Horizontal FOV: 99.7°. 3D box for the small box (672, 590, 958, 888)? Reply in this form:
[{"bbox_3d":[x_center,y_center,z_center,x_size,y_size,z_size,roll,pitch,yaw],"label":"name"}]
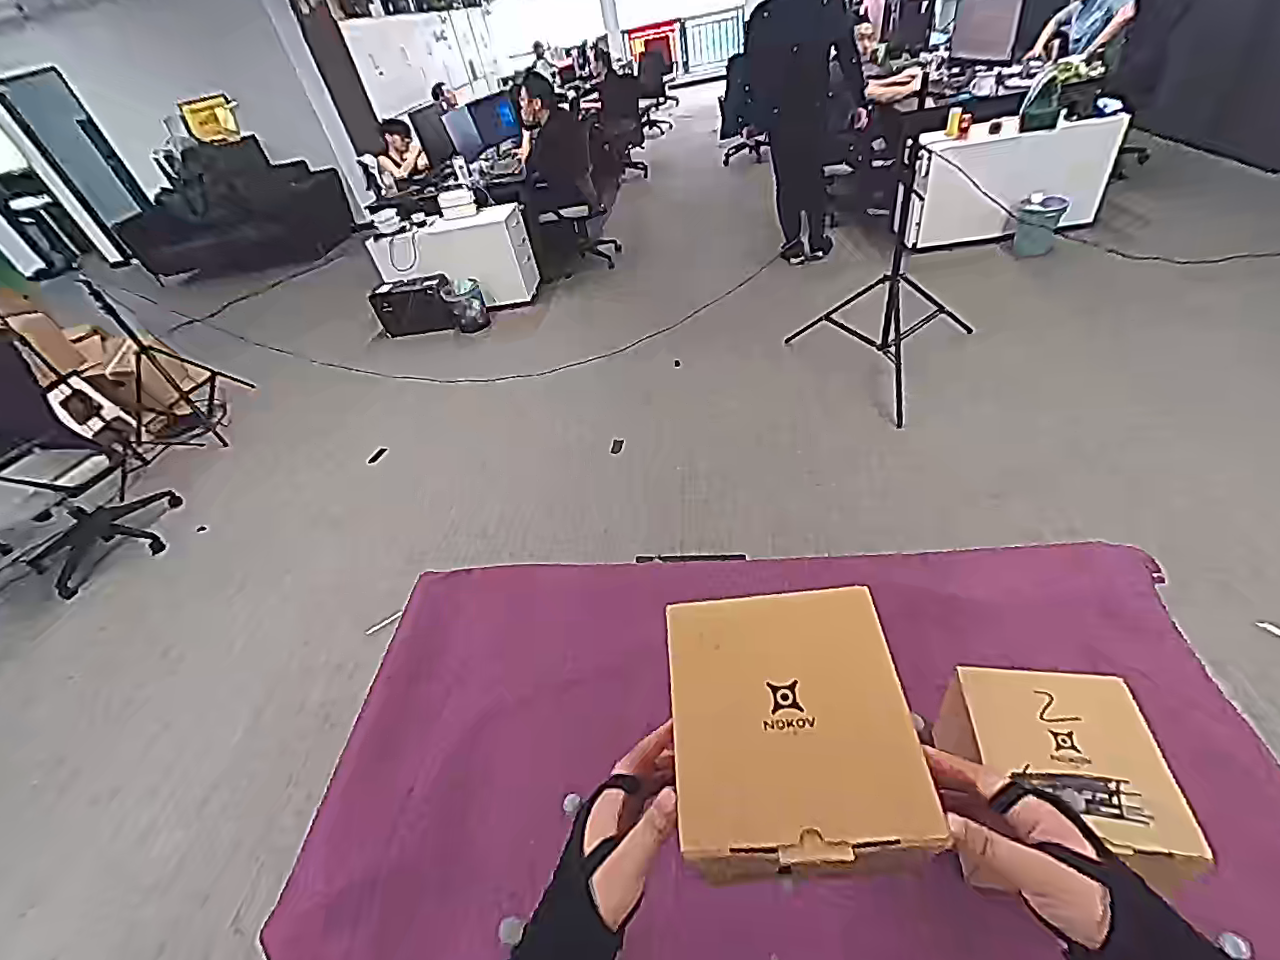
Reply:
[{"bbox_3d":[0.119,0.214,0.442,0.168,0.176,0.179,-7,49,6],"label":"small box"}]
